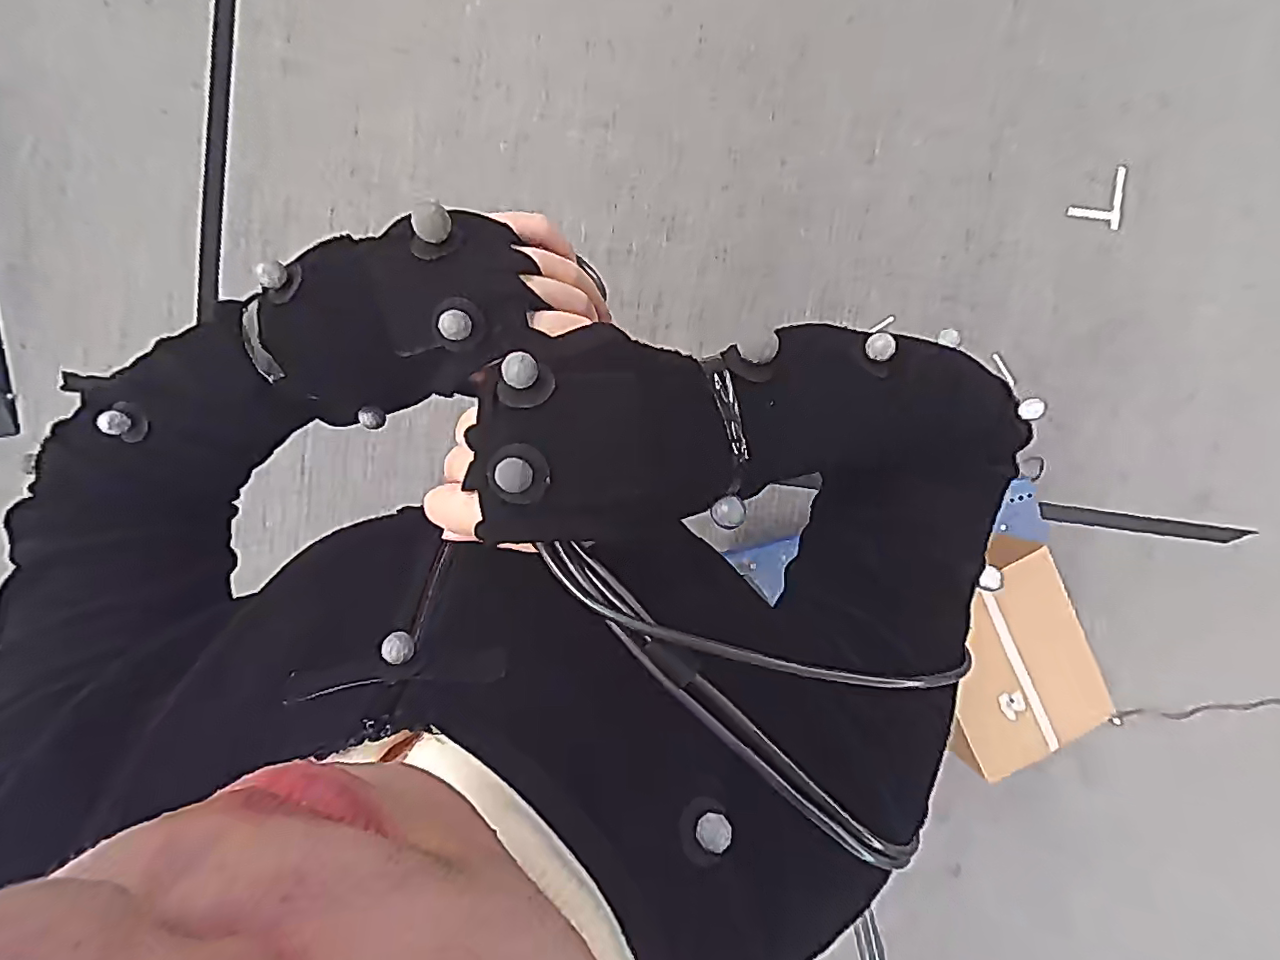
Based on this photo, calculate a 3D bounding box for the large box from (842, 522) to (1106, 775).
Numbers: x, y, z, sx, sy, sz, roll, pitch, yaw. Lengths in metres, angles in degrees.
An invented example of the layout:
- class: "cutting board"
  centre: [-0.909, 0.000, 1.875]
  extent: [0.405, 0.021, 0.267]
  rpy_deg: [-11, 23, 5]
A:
- class: "large box"
  centre: [0.738, 0.356, 1.247]
  extent: [0.320, 0.320, 0.408]
  rpy_deg: [-26, 96, -2]
